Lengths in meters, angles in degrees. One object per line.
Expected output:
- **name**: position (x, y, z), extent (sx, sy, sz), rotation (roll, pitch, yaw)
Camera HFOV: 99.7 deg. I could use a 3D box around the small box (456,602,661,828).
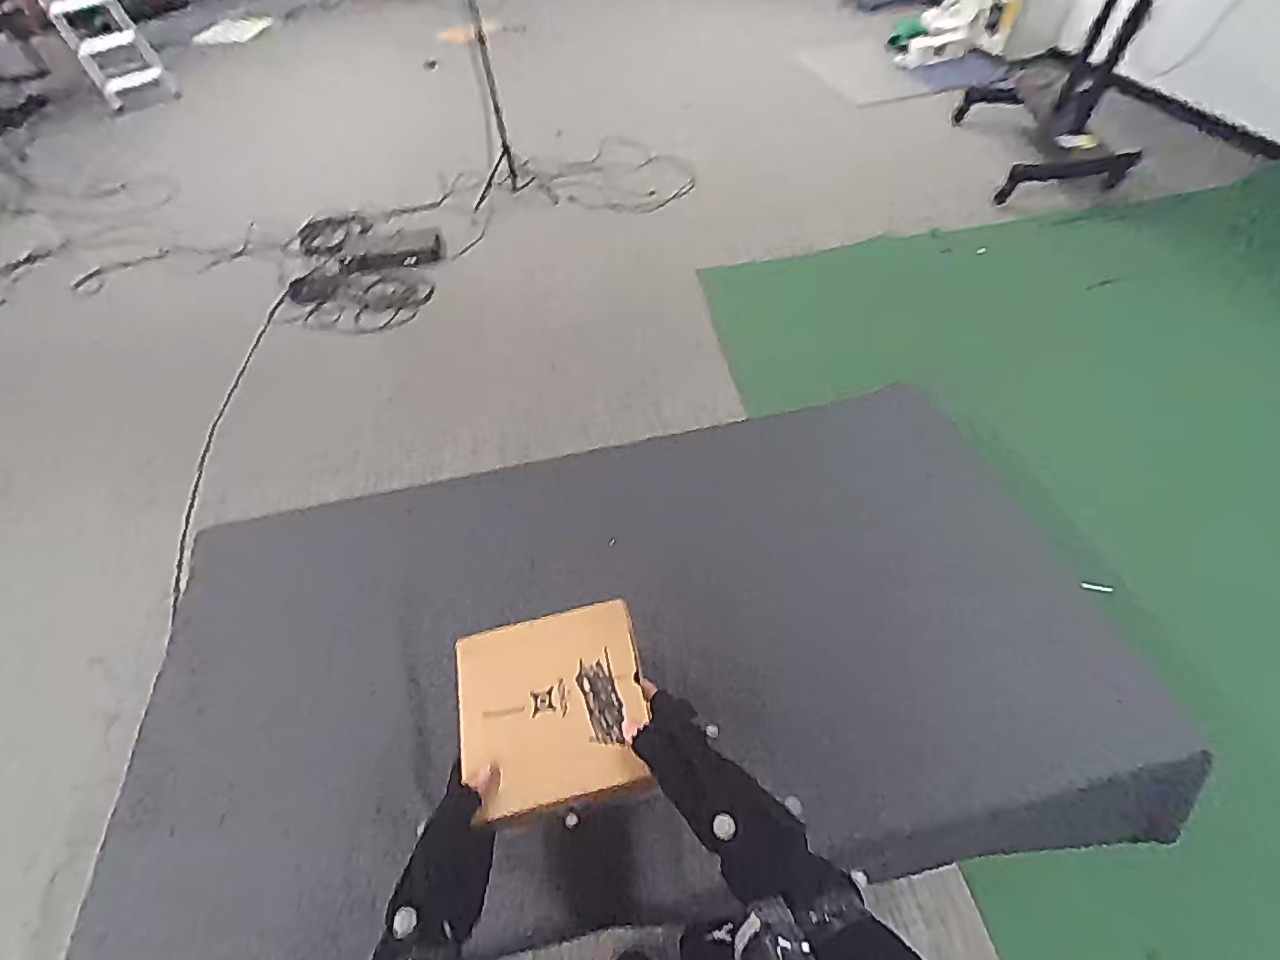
- **small box**: position (-0.079, 0.253, 0.573), extent (0.179, 0.176, 0.168), rotation (-14, 55, -4)
